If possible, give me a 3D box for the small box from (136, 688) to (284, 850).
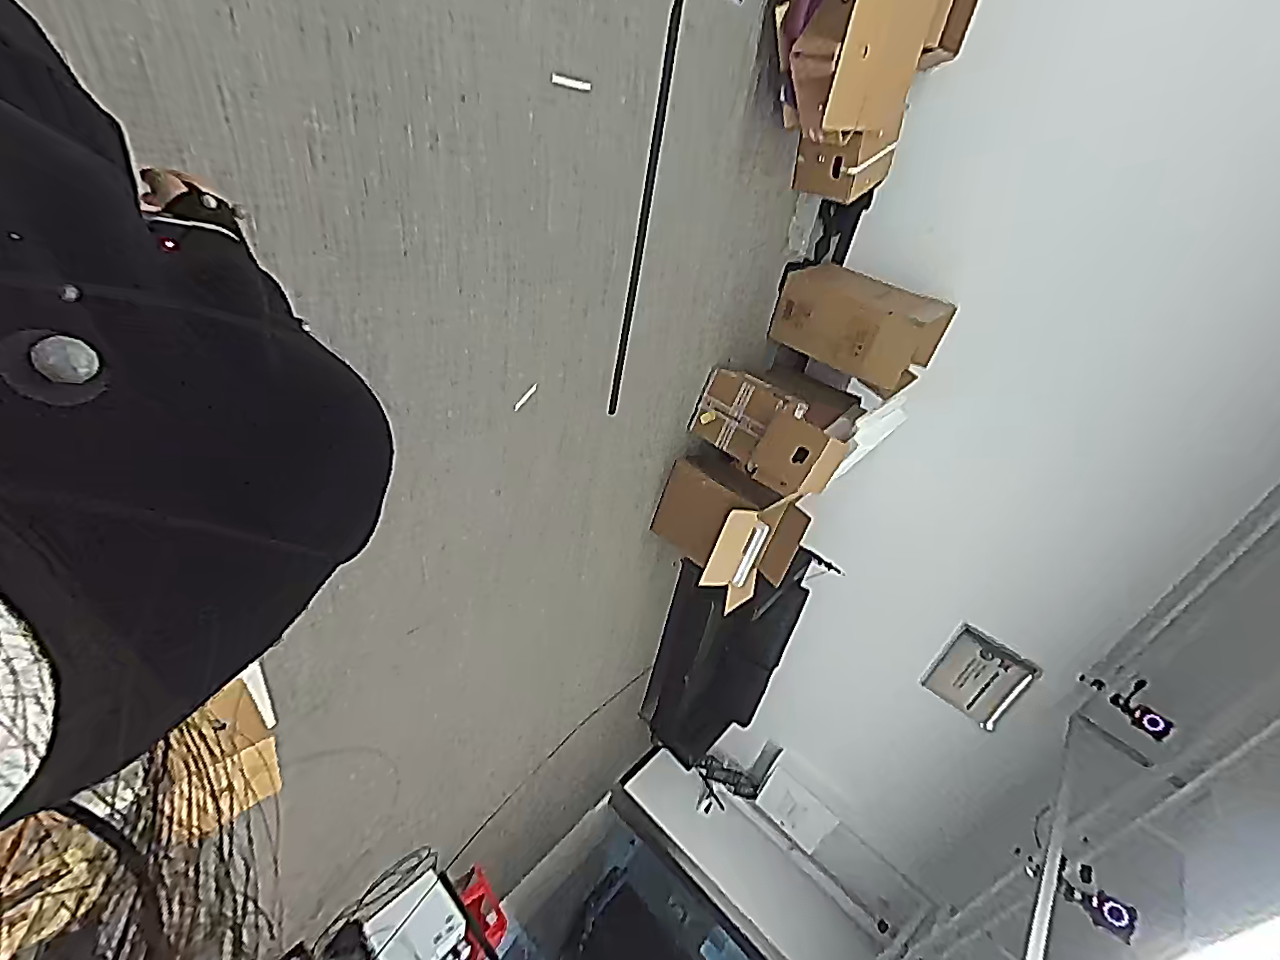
[{"bbox_3d":[-0.787,0.515,0.996,0.168,0.176,0.179,-20,135,-46],"label":"small box"}]
